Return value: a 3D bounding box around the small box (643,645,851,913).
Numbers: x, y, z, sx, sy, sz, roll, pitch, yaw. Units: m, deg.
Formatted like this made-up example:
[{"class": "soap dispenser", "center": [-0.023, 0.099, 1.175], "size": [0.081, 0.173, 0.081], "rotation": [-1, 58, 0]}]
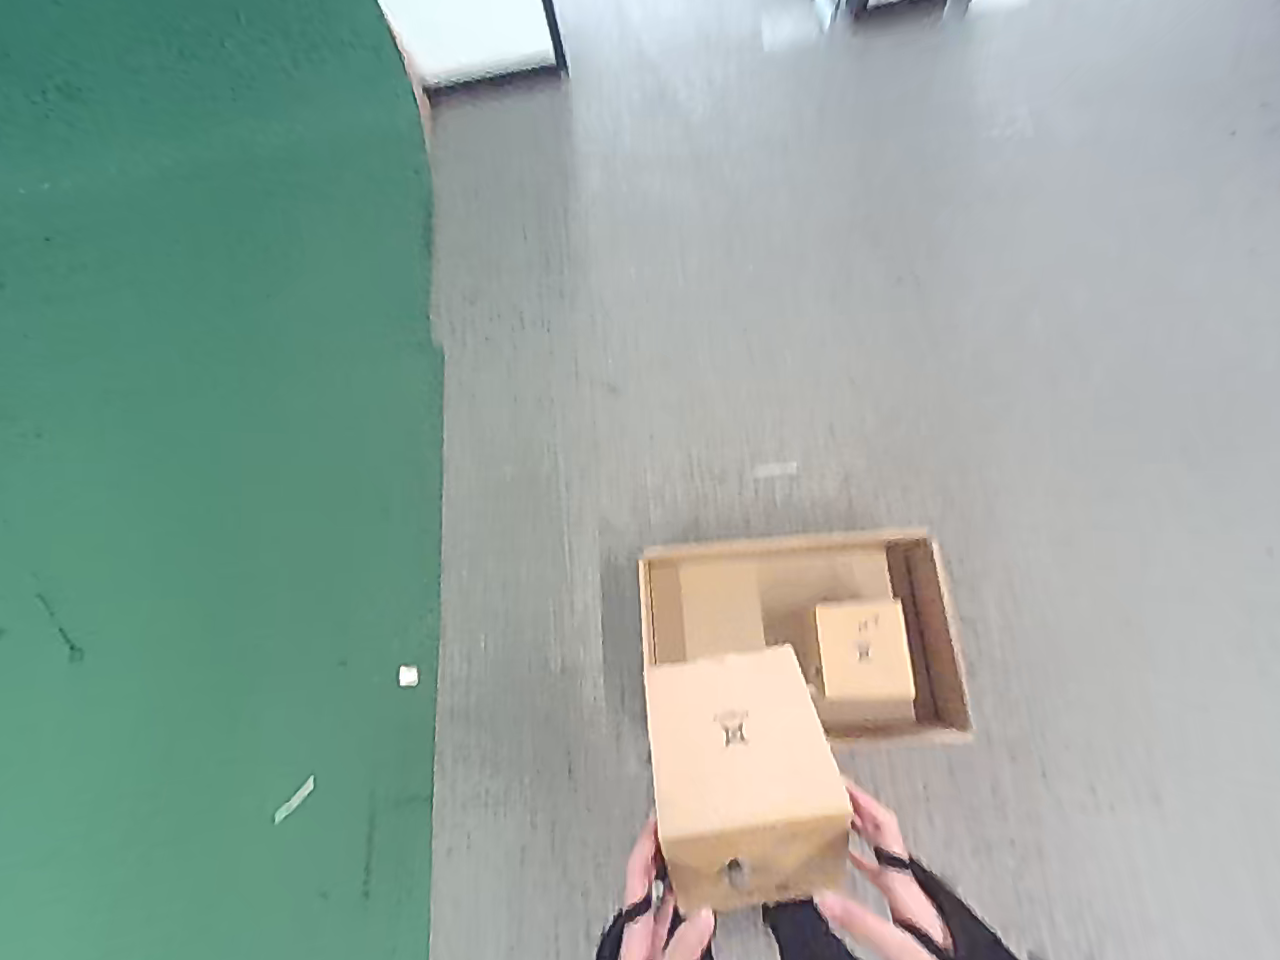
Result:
[{"class": "small box", "center": [0.102, 0.302, 0.547], "size": [0.168, 0.176, 0.179], "rotation": [-10, 31, 2]}]
